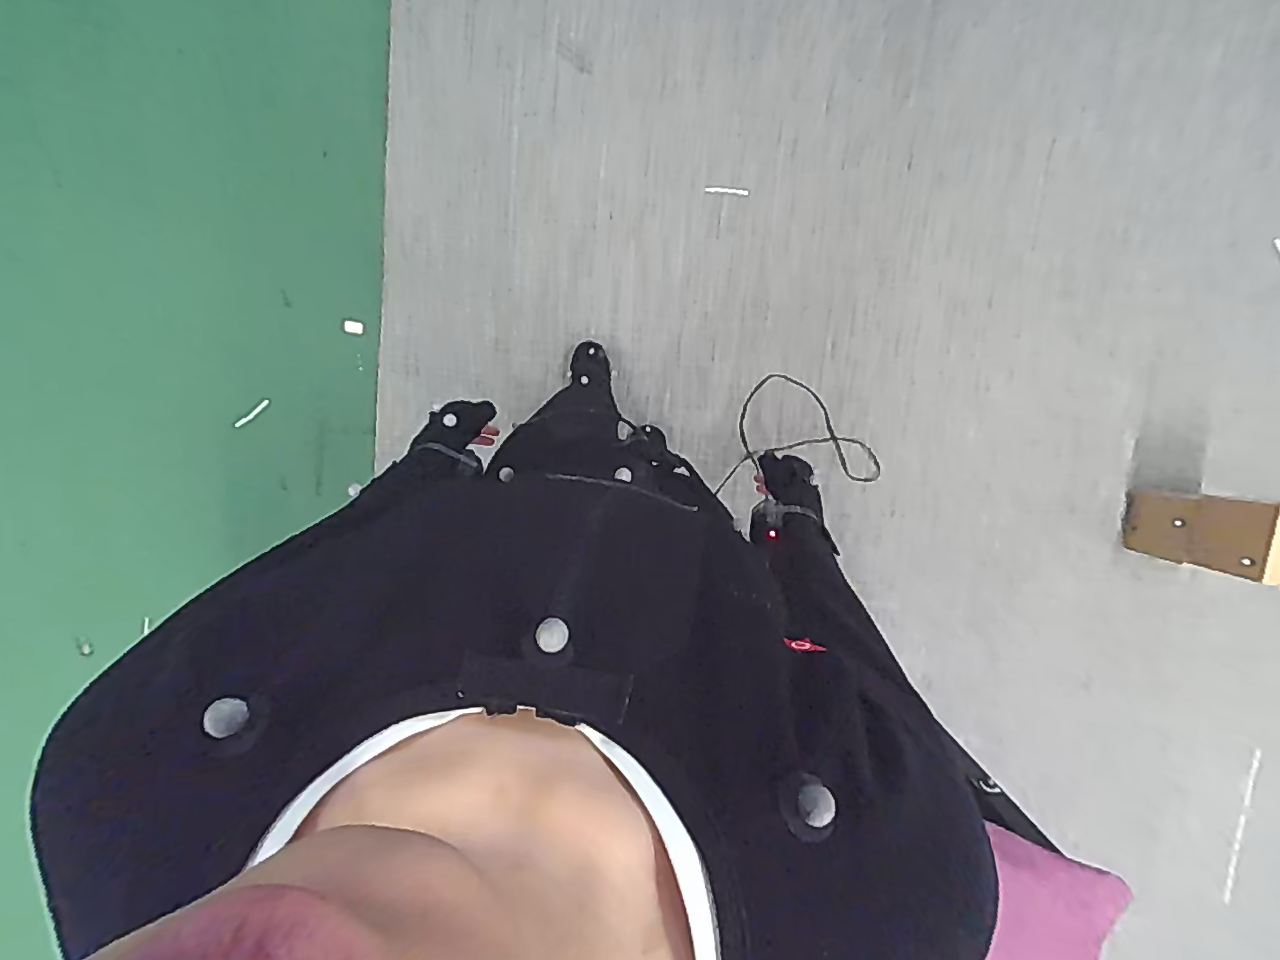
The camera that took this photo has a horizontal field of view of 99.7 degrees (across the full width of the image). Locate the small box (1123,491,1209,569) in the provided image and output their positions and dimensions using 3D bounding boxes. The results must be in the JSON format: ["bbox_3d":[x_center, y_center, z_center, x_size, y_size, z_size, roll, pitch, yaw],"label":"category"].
[{"bbox_3d":[1.389,0.124,1.363,0.179,0.176,0.168,5,97,0],"label":"small box"}]

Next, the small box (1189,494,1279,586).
[{"bbox_3d":[1.388,0.131,1.199,0.168,0.176,0.179,5,97,1],"label":"small box"}]
